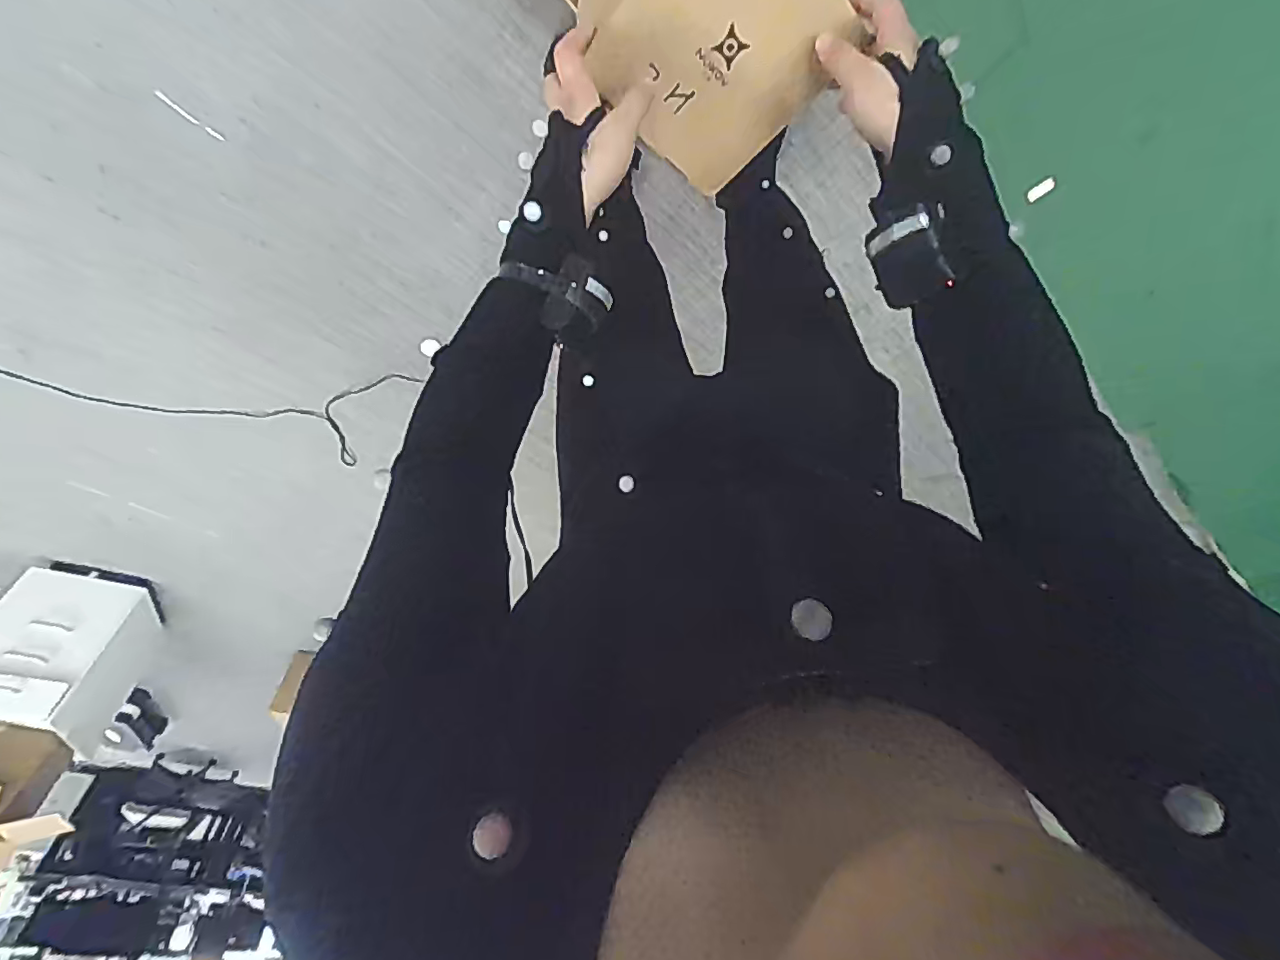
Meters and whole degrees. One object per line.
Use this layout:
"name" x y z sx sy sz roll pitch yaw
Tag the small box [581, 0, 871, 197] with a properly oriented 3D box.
"small box" 0.063 -0.405 0.470 0.168 0.176 0.179 24 139 -36
